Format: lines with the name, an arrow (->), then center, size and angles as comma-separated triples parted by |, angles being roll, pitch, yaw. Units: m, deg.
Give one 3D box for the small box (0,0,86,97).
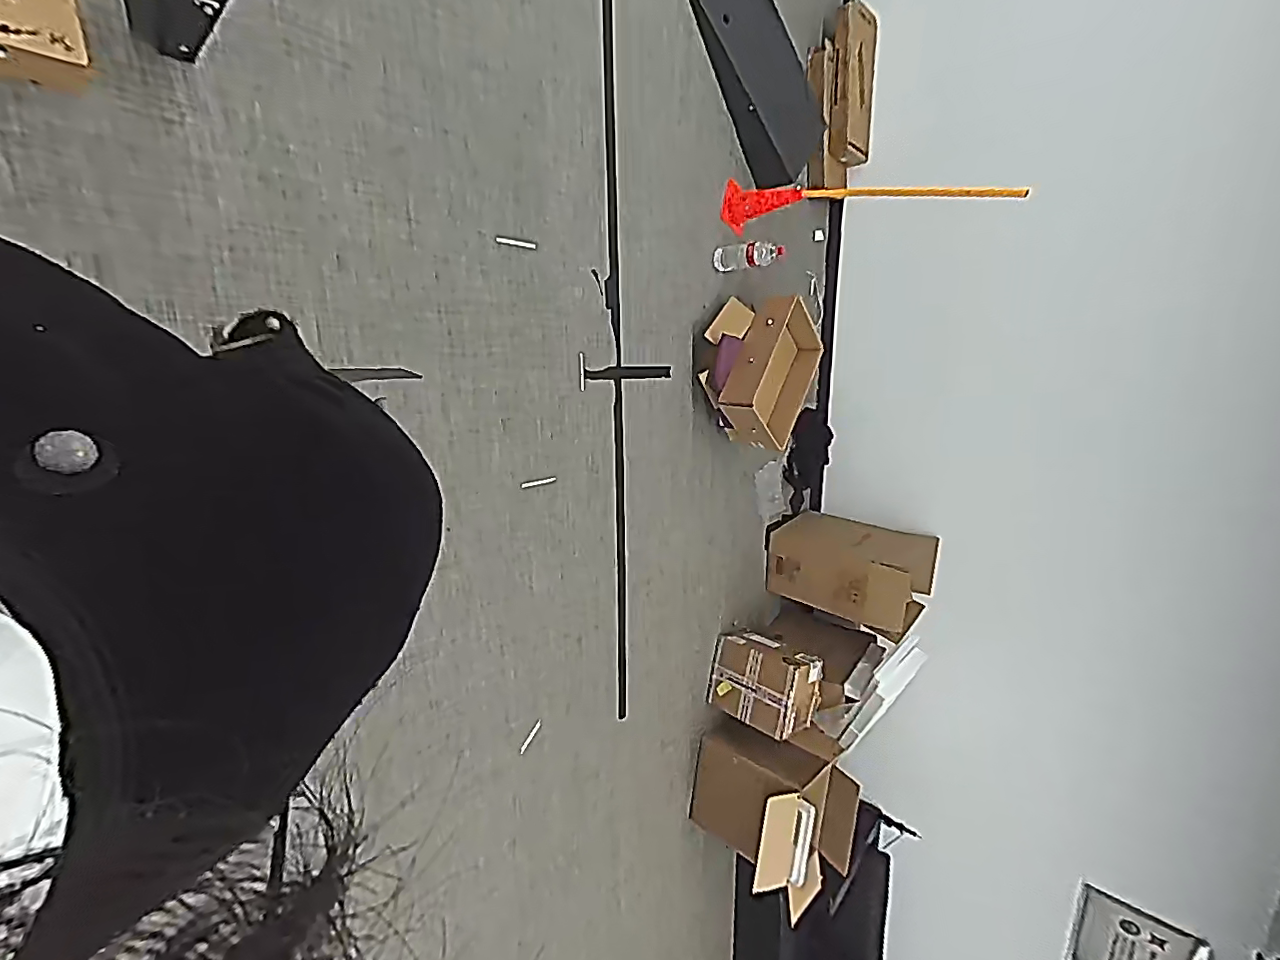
small box -> -1.035, -0.765, 0.872 | 0.168, 0.176, 0.179 | -15, 109, -46
